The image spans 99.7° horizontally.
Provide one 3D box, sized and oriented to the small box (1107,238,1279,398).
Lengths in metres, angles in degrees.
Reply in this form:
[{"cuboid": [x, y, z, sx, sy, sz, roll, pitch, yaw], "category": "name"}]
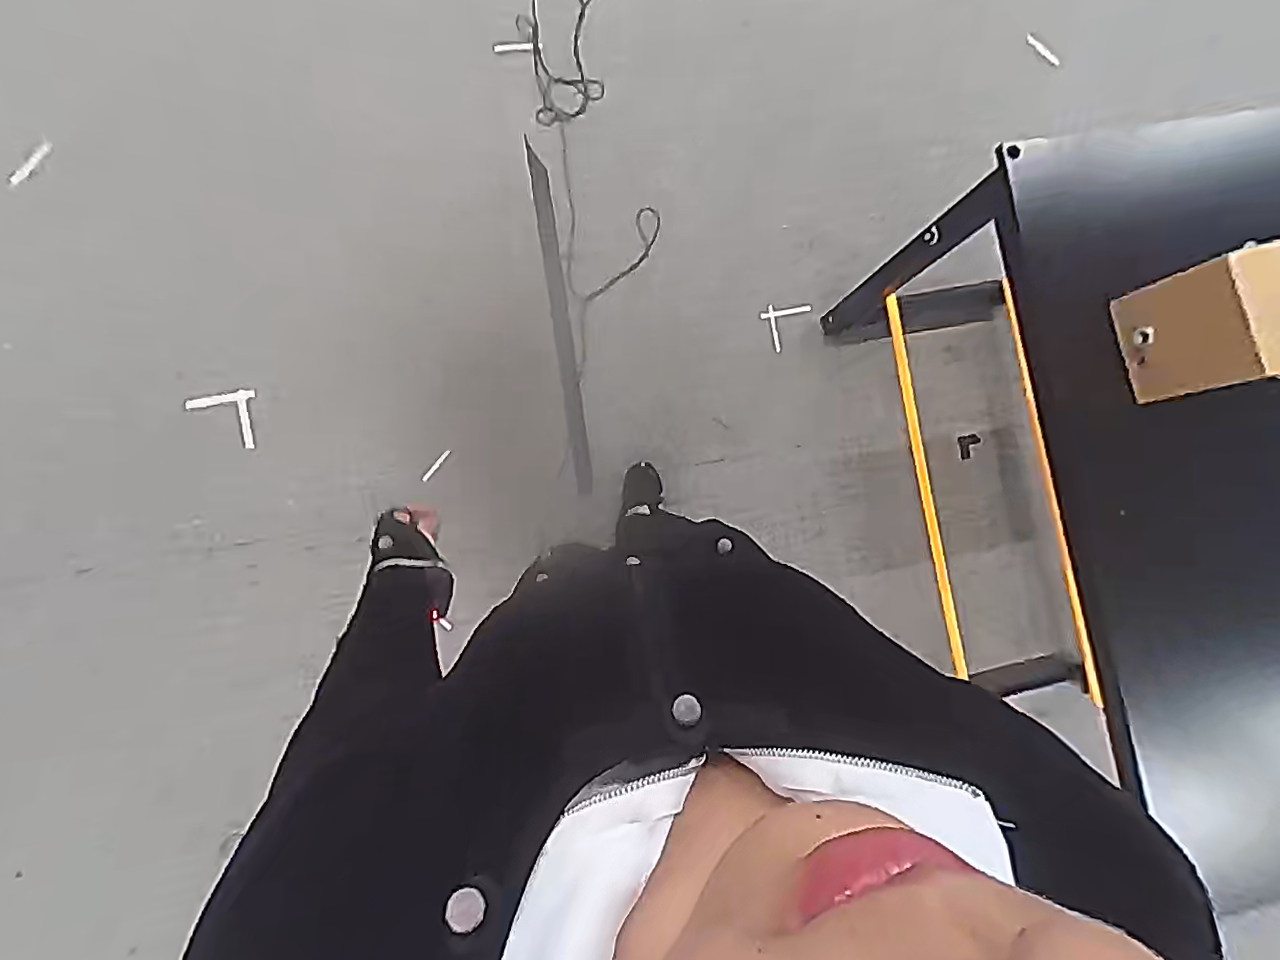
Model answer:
[{"cuboid": [0.837, -0.229, 0.772, 0.179, 0.176, 0.168, -16, 87, -5], "category": "small box"}]
